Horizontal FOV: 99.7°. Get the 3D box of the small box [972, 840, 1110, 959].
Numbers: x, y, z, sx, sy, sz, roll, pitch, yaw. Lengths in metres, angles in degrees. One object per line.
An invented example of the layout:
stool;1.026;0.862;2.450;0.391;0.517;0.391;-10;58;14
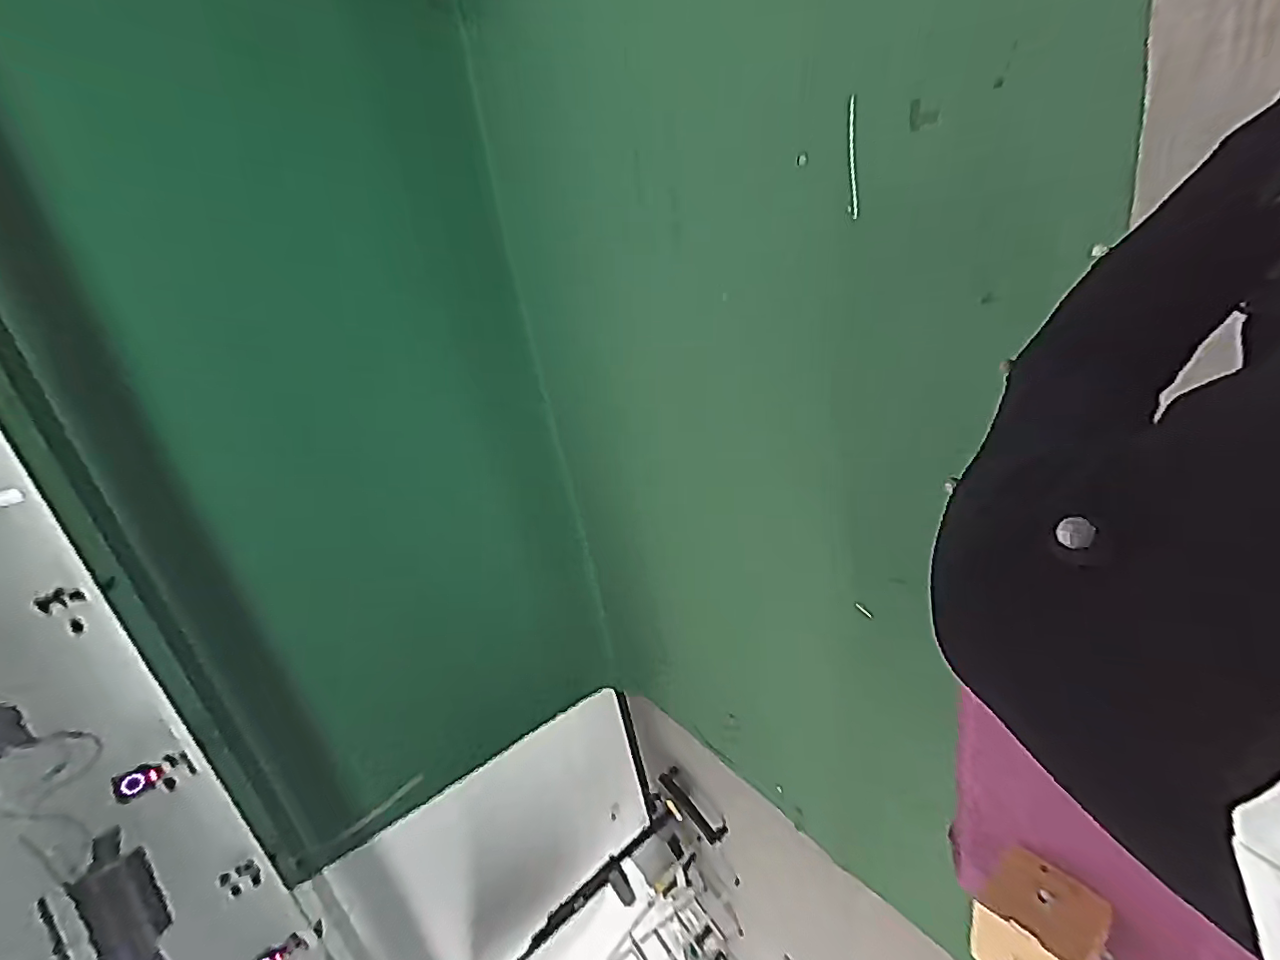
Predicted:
small box;0.767;0.851;1.037;0.168;0.176;0.179;17;122;51
